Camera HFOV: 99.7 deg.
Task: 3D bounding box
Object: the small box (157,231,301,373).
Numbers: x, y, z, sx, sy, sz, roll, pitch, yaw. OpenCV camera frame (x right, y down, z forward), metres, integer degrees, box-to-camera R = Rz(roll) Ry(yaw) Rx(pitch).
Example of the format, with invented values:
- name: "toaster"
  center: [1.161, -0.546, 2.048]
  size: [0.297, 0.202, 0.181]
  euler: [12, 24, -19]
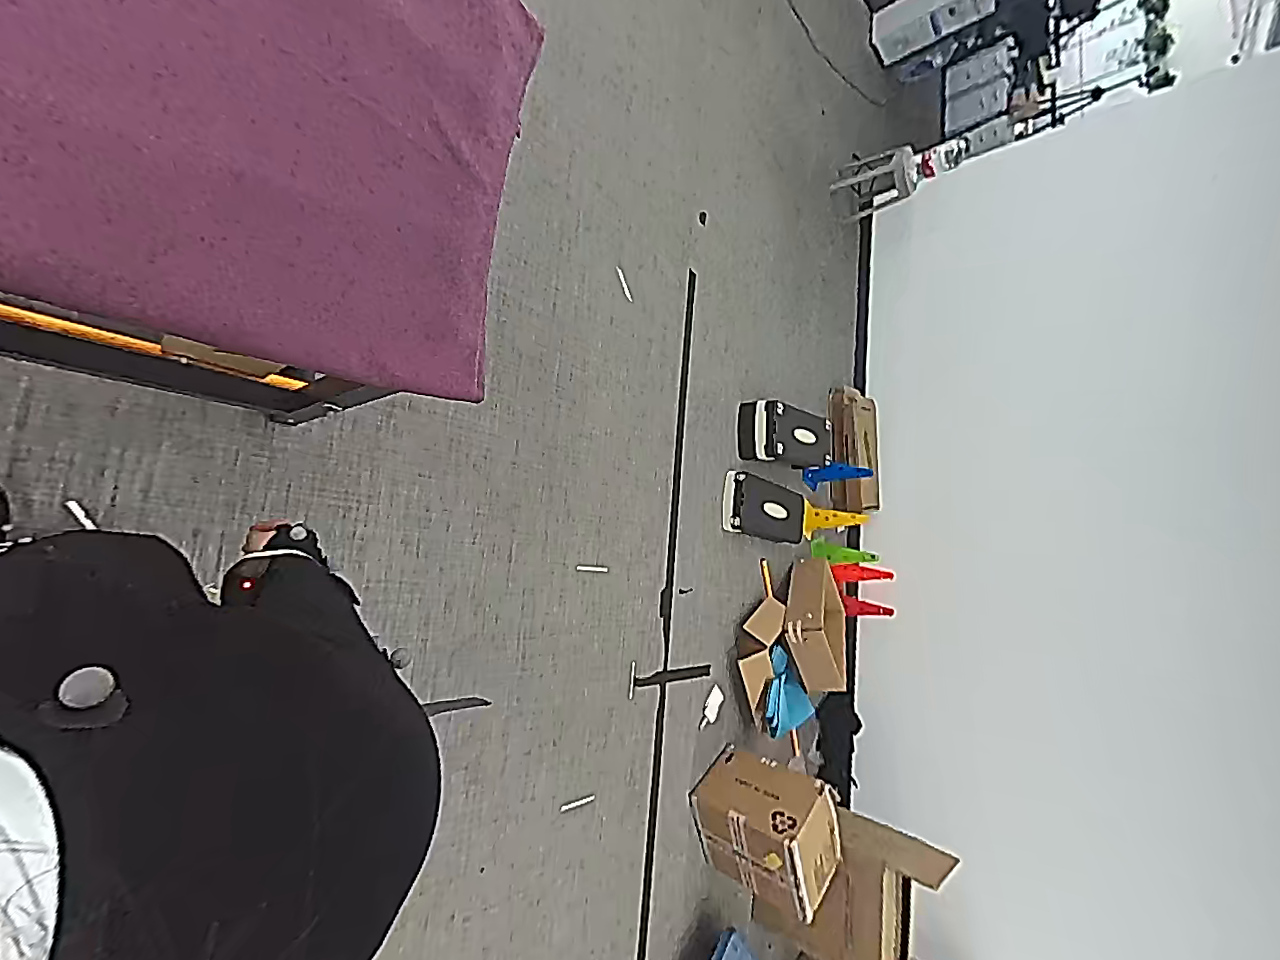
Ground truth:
- name: "small box"
  center: [-0.752, -0.309, 0.987]
  size: [0.168, 0.176, 0.179]
  euler: [15, 78, -47]
